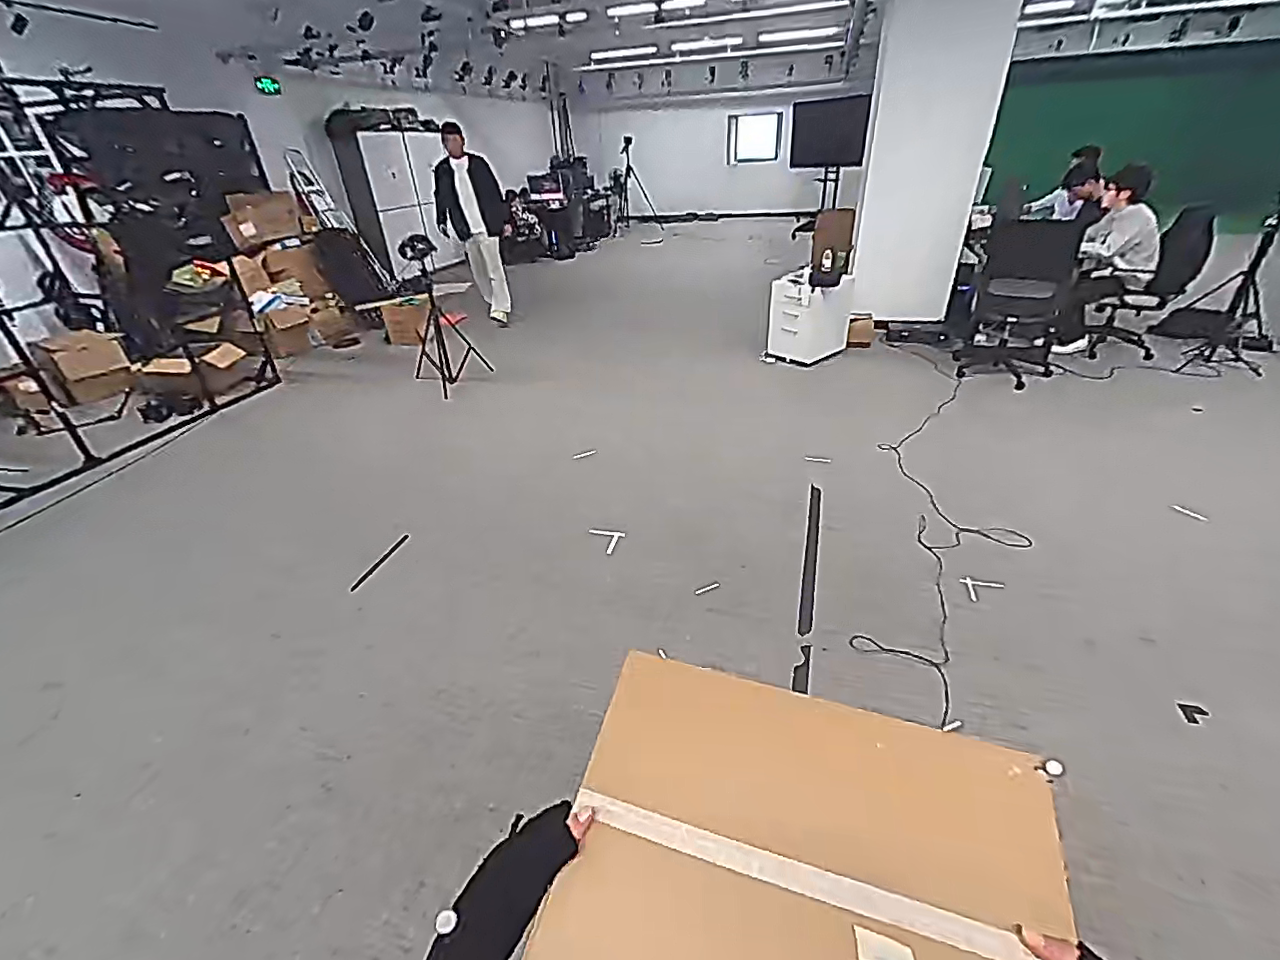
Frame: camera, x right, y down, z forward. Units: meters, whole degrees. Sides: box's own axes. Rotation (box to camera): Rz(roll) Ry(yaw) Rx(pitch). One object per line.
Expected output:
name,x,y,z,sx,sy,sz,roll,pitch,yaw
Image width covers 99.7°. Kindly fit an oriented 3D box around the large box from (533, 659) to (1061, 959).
large box,0.143,0.441,0.570,0.408,0.320,0.320,10,48,14
